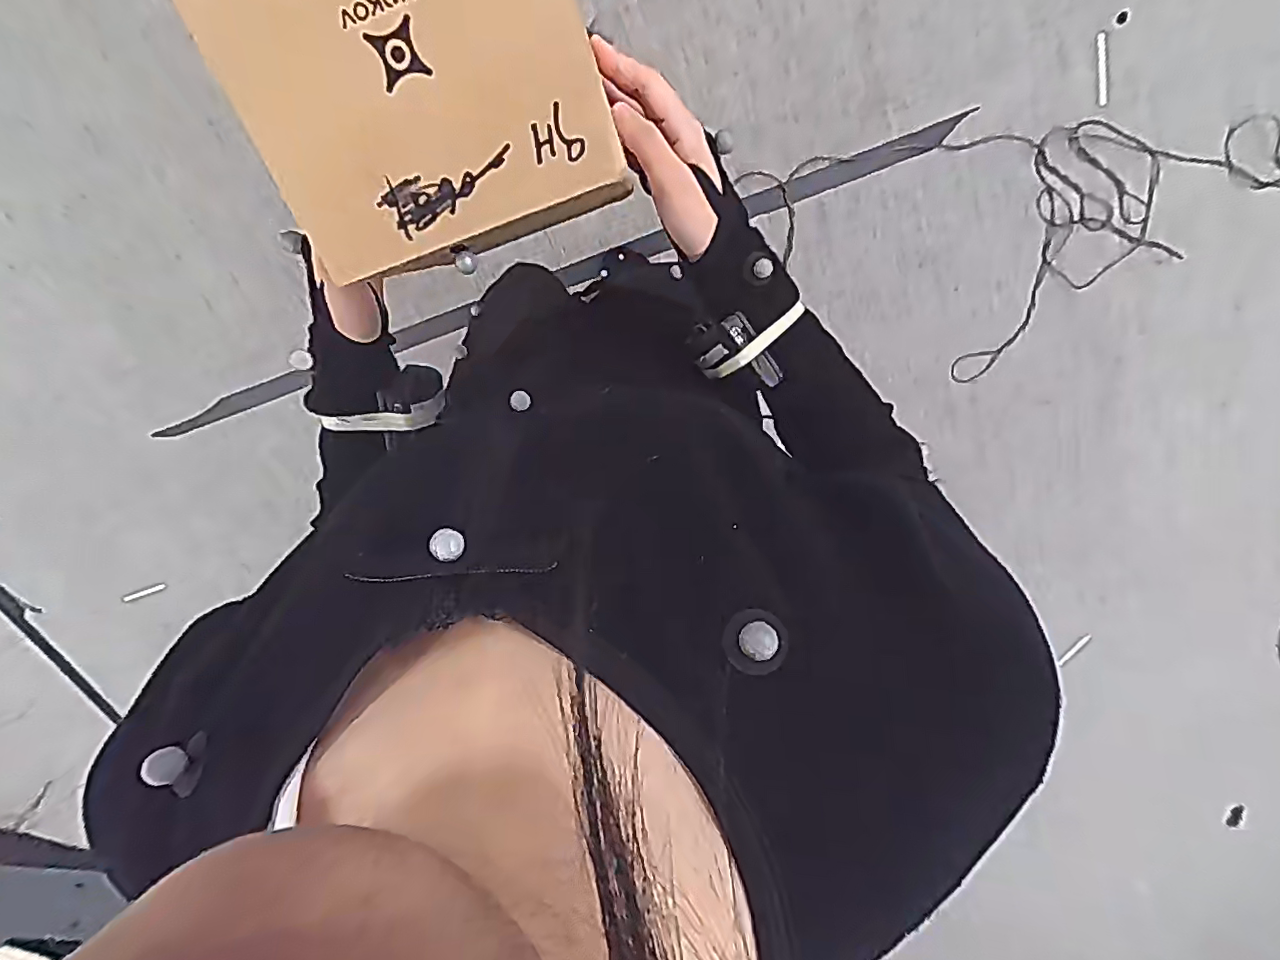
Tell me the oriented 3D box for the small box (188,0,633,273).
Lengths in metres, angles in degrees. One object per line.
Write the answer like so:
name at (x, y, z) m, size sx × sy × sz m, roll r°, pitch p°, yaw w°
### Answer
small box at (-0.108, -0.235, 0.309) m, size 0.168 × 0.176 × 0.179 m, roll -17°, pitch 113°, yaw 9°

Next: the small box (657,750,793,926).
small box at (0.131, 0.576, 0.891) m, size 0.168 × 0.176 × 0.179 m, roll -20°, pitch 111°, yaw 8°
